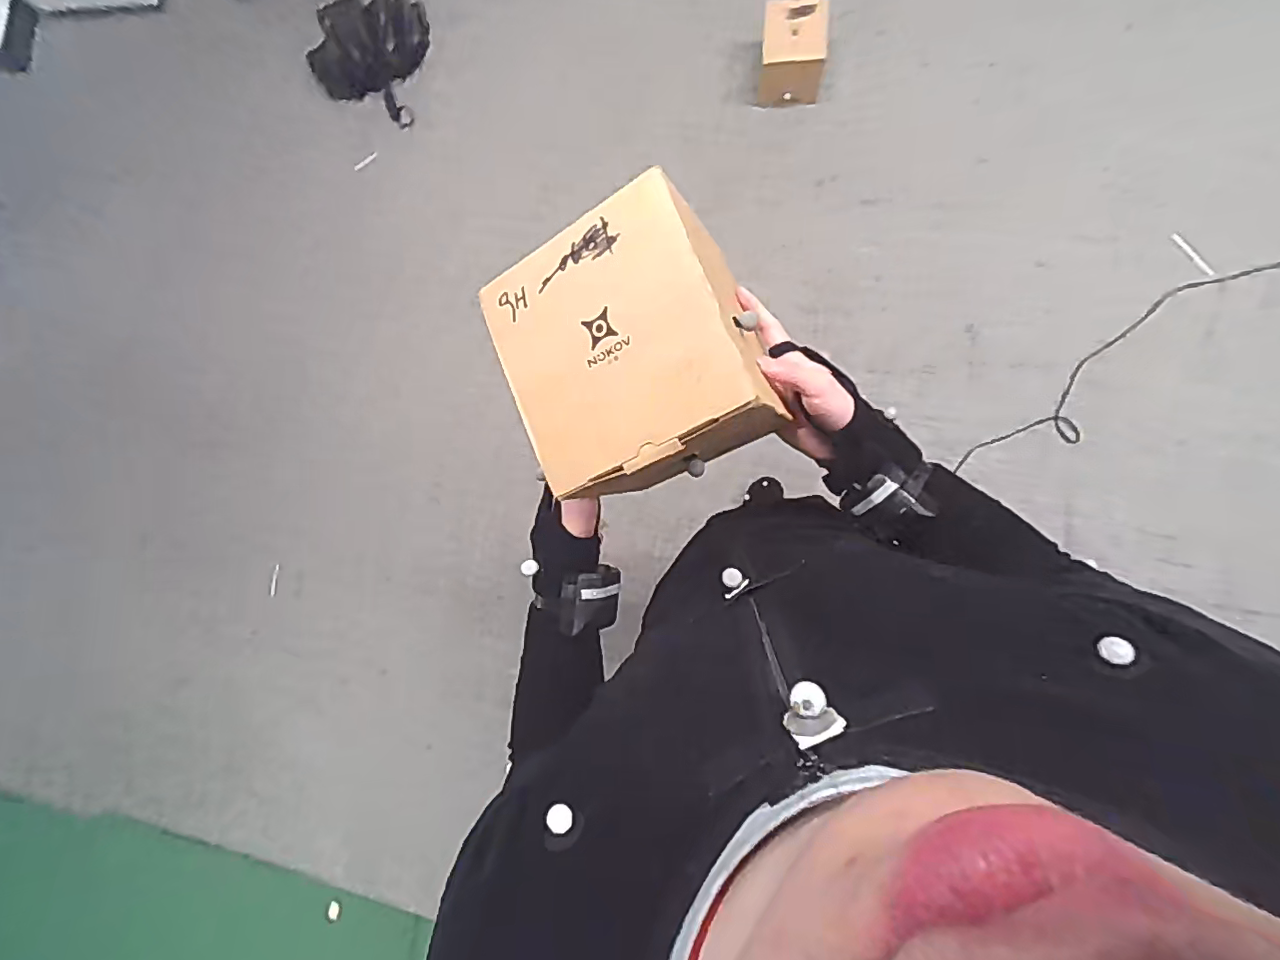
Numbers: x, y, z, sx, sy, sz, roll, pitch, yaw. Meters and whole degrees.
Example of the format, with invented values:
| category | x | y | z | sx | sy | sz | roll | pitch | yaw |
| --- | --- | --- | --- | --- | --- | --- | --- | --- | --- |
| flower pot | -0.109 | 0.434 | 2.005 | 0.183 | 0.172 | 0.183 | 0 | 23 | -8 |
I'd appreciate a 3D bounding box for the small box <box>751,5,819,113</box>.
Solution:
| category | x | y | z | sx | sy | sz | roll | pitch | yaw |
| --- | --- | --- | --- | --- | --- | --- | --- | --- | --- |
| small box | 0.402 | -1.176 | 1.520 | 0.168 | 0.176 | 0.179 | 3 | 88 | 9 |
